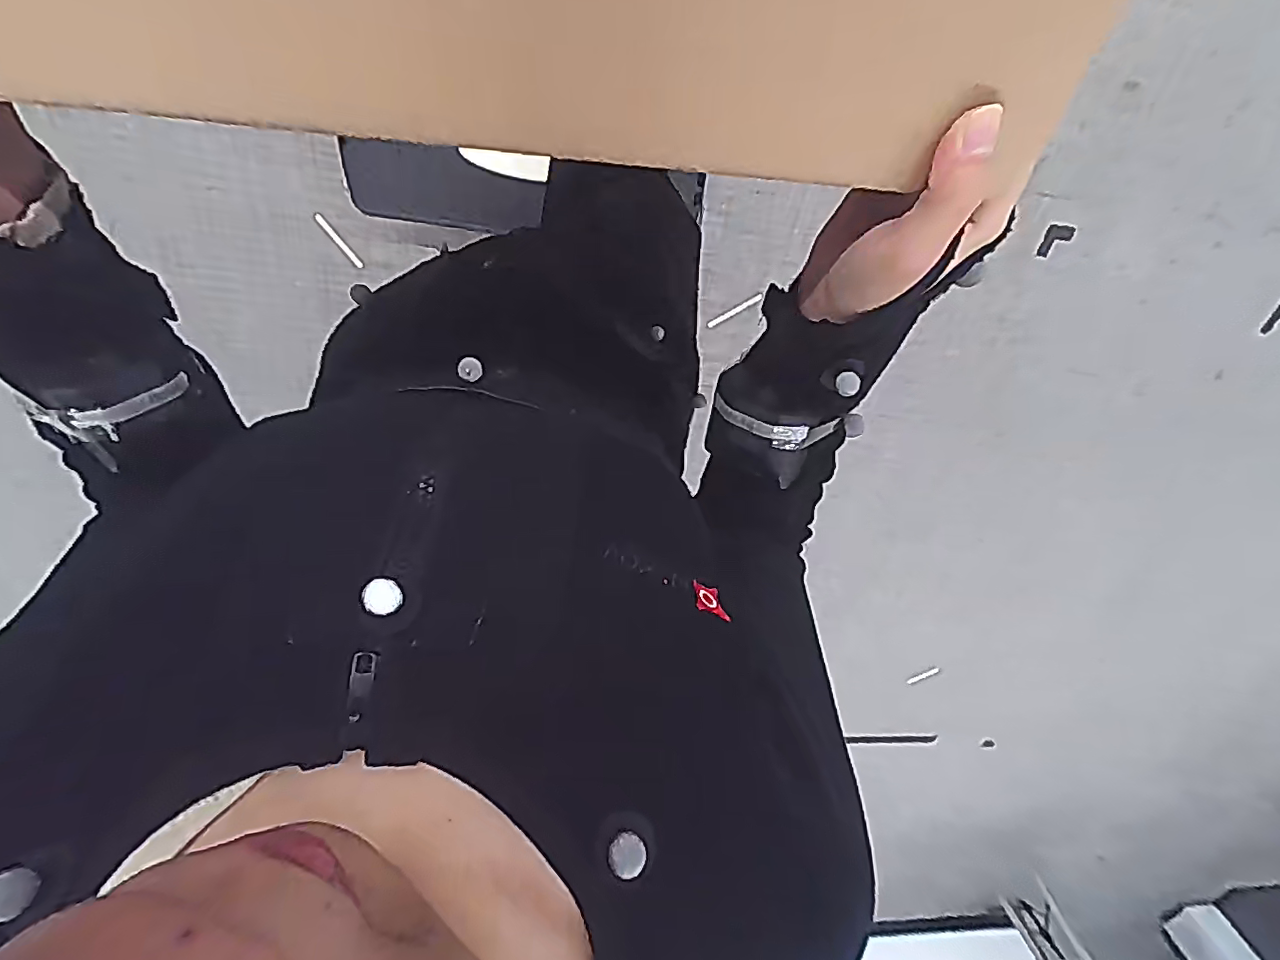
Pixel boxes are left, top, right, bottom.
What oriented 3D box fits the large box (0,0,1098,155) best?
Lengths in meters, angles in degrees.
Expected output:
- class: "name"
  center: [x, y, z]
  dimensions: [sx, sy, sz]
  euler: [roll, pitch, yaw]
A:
- class: "large box"
  center: [-0.048, -0.339, 0.164]
  dimensions: [0.408, 0.320, 0.320]
  euler: [0, 143, -8]
